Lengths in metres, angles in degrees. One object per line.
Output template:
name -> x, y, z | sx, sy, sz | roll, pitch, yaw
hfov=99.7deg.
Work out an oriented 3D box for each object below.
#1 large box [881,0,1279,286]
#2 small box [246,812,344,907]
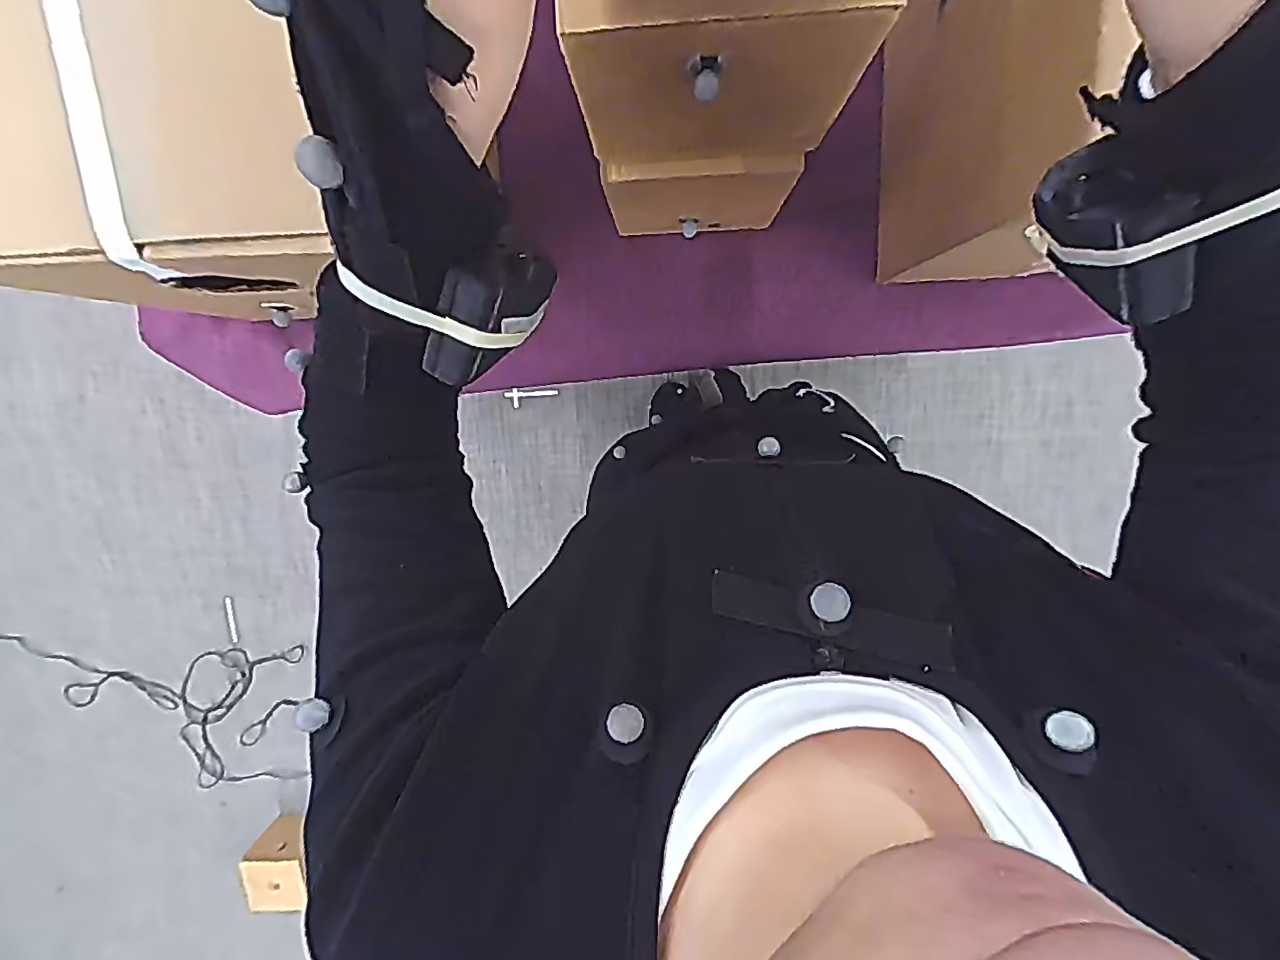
large box -> 0.387, -0.389, 0.400 | 0.320, 0.320, 0.408 | -3, 99, 4
small box -> -0.994, 1.103, 1.581 | 0.179, 0.176, 0.168 | -3, 101, 4
